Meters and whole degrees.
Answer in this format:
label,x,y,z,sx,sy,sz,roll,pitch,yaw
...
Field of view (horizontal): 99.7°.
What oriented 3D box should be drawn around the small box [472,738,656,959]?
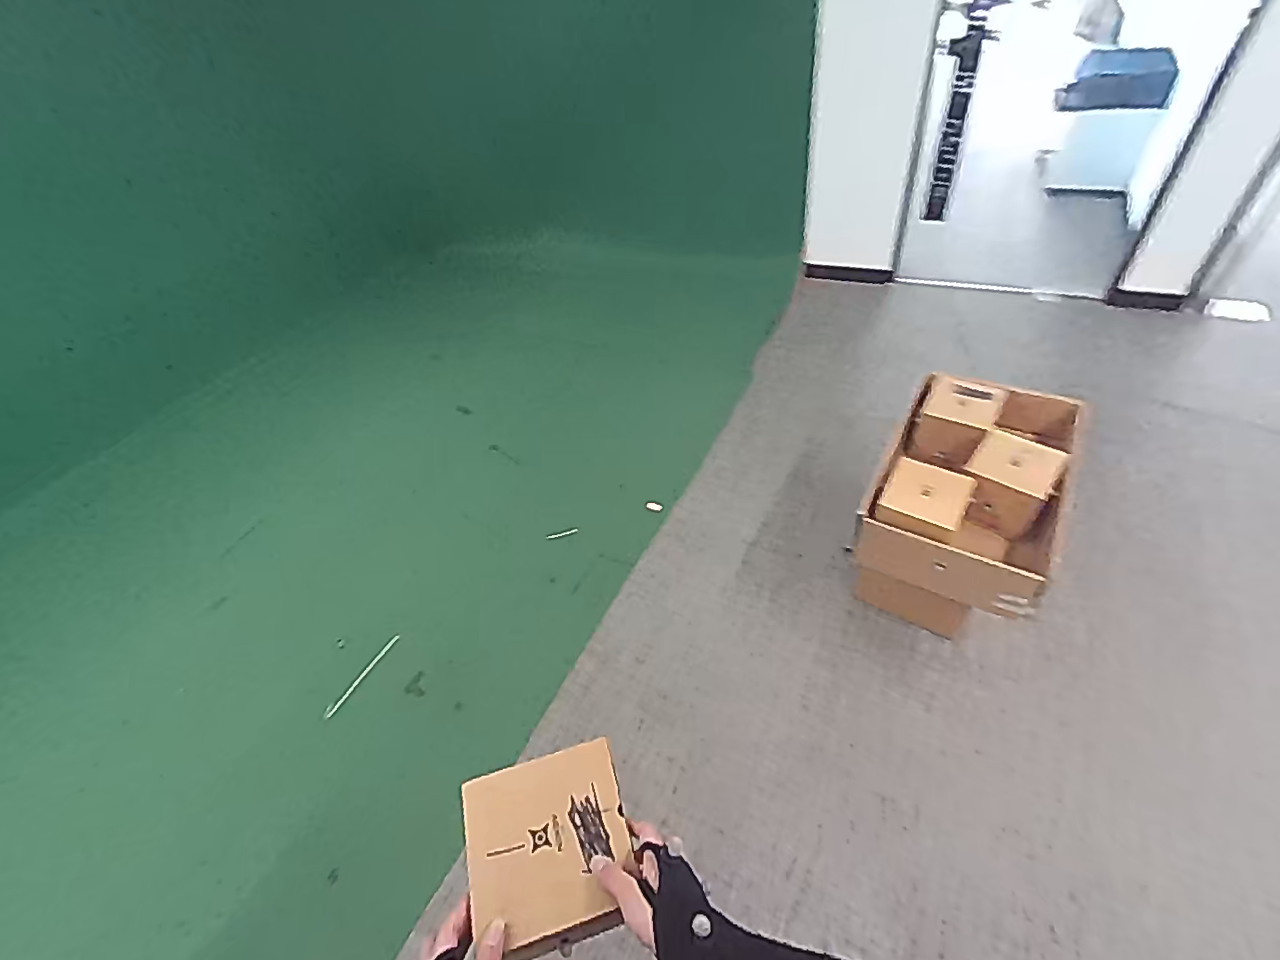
label,x,y,z,sx,sy,sz,roll,pitch,yaw
small box,-0.087,0.434,0.637,0.179,0.176,0.168,-13,48,-9
